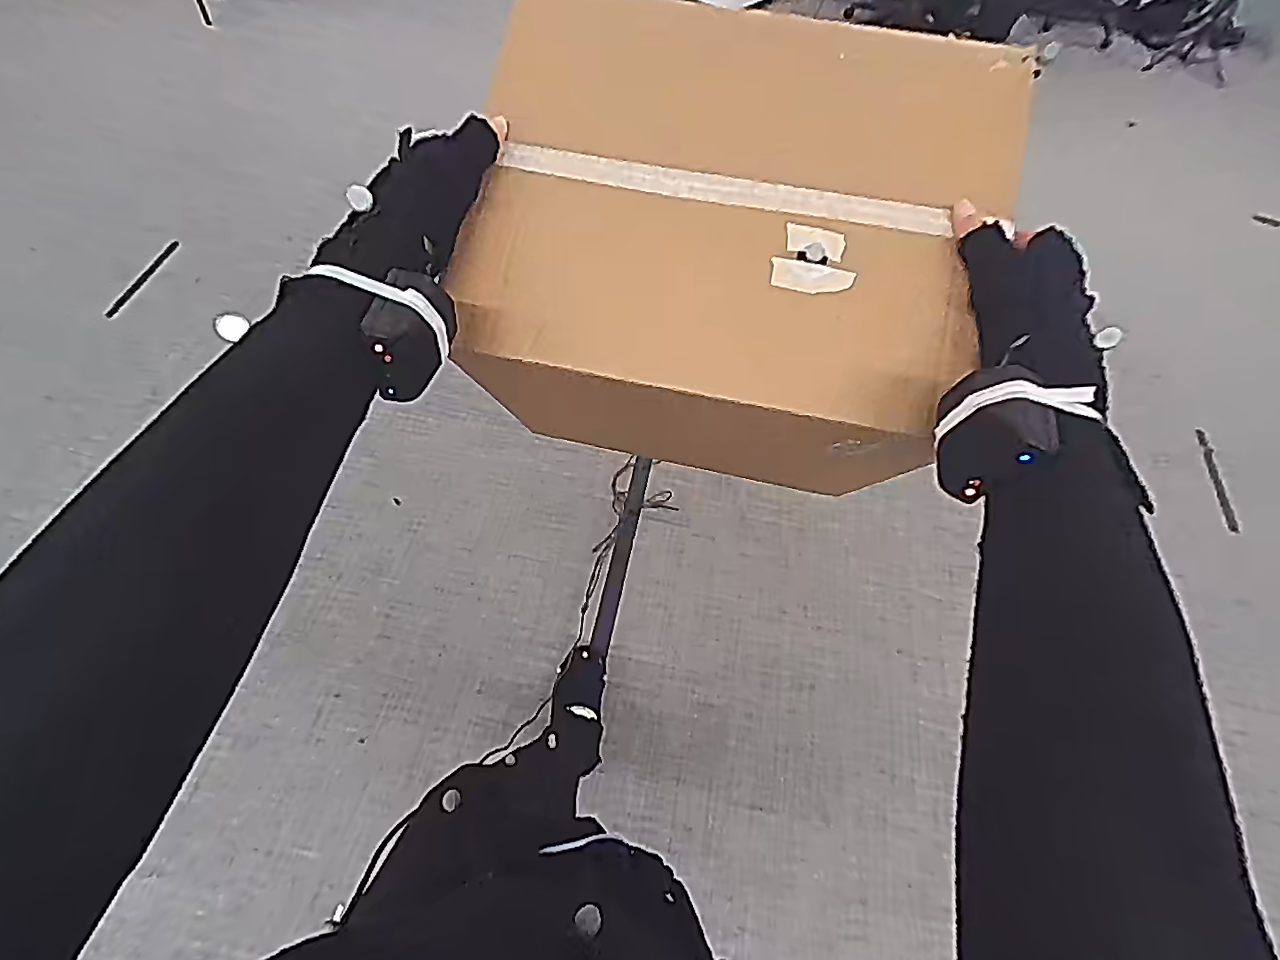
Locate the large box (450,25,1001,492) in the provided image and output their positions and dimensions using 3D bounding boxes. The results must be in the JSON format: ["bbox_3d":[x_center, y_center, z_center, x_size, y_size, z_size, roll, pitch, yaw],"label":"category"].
[{"bbox_3d":[0.074,-0.186,0.578,0.408,0.320,0.320,11,84,3],"label":"large box"}]
